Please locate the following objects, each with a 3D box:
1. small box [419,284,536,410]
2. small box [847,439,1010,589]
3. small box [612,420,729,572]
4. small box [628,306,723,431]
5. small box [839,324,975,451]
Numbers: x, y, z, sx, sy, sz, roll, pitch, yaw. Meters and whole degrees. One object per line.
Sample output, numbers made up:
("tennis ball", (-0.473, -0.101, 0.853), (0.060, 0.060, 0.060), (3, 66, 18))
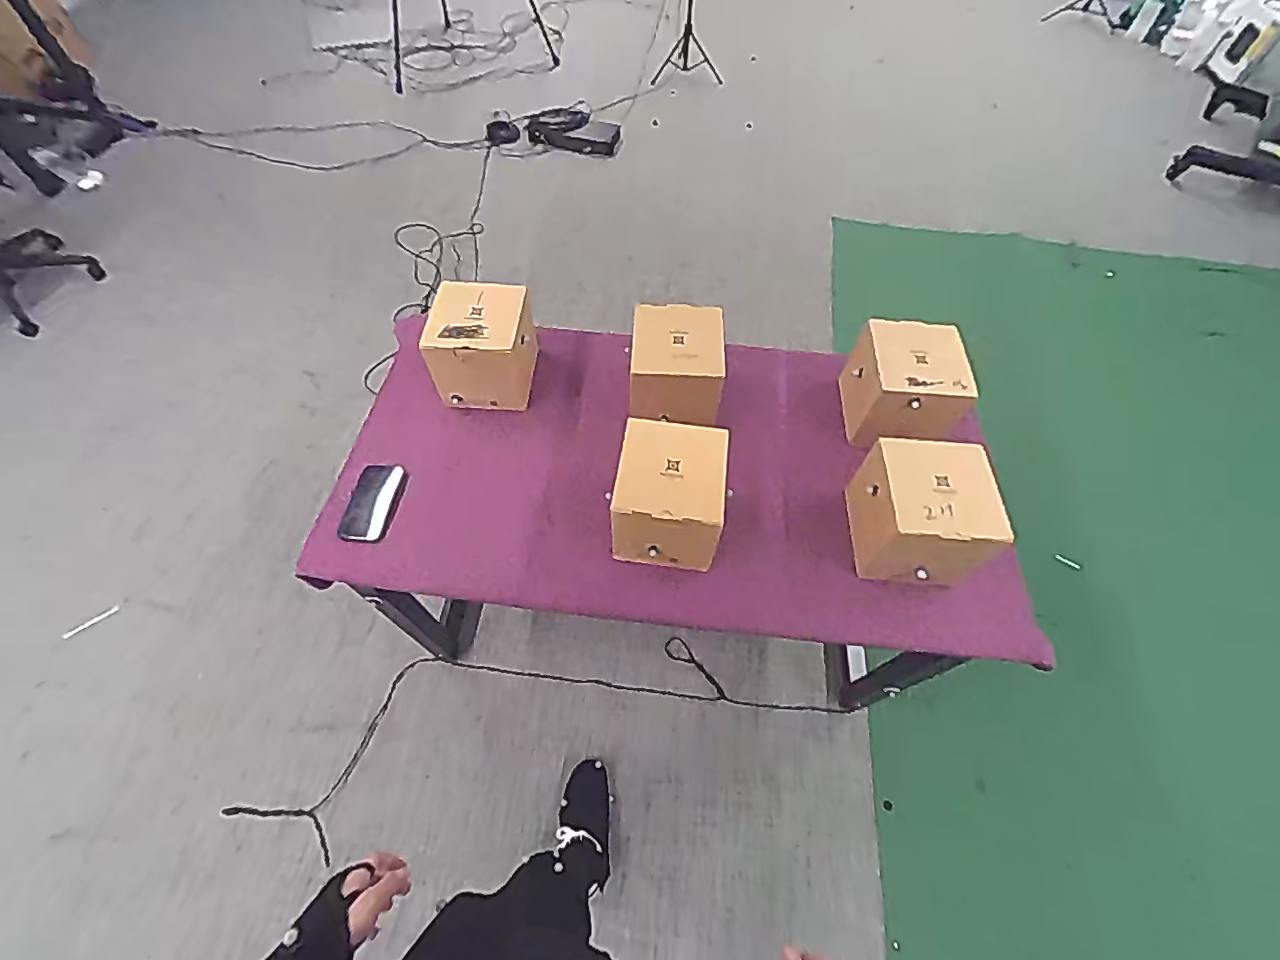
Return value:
("small box", (-0.303, -0.253, 1.052), (0.168, 0.176, 0.179), (3, 57, -1))
("small box", (0.451, 0.058, 0.881), (0.168, 0.176, 0.179), (5, 57, 2))
("small box", (0.046, 0.029, 0.889), (0.168, 0.176, 0.179), (8, 57, 2))
("small box", (0.065, -0.206, 1.038), (0.168, 0.176, 0.179), (3, 59, 1))
("small box", (0.493, -0.170, 1.029), (0.168, 0.176, 0.179), (4, 57, 2))
